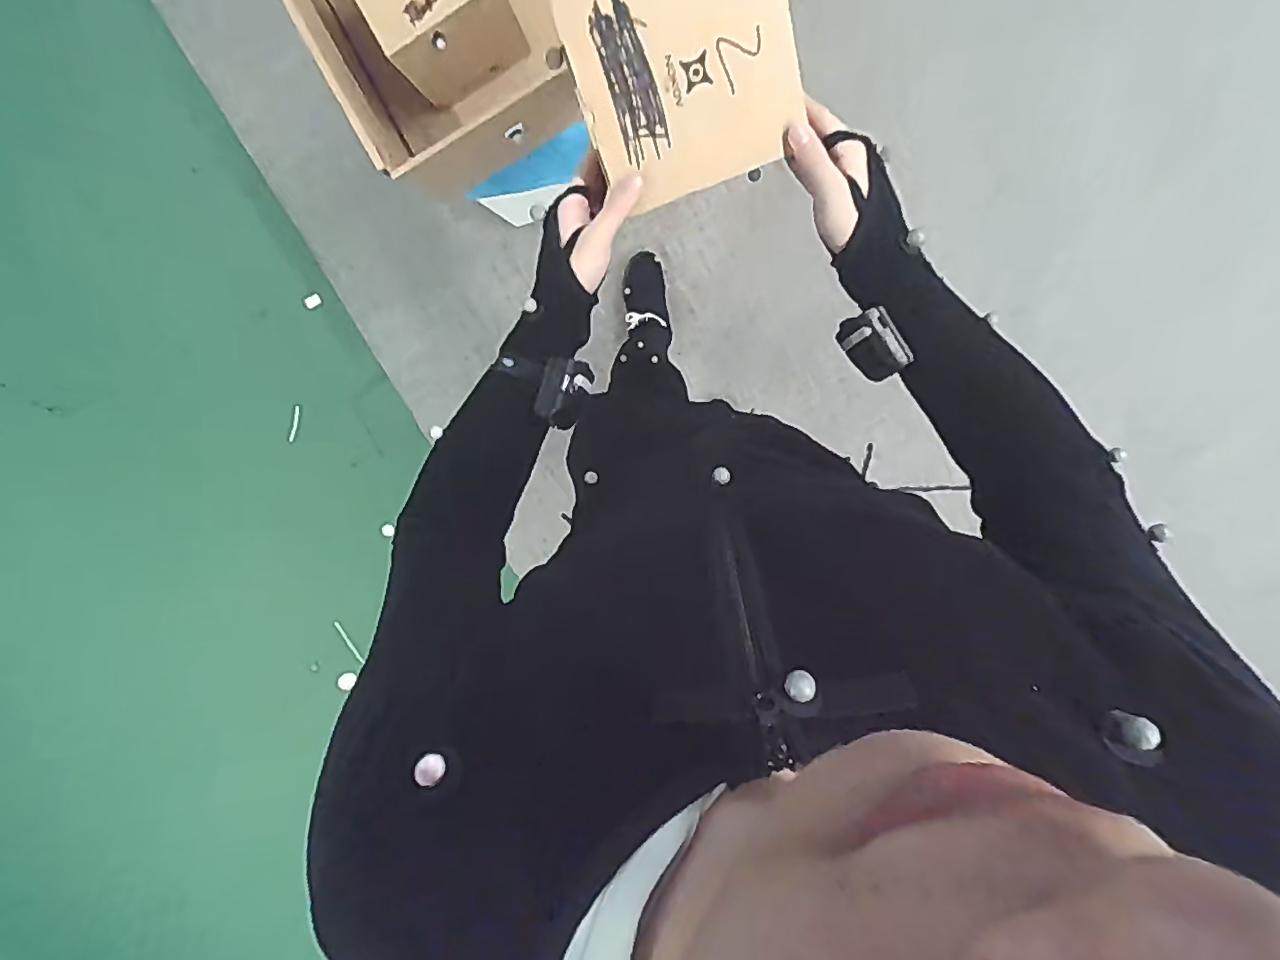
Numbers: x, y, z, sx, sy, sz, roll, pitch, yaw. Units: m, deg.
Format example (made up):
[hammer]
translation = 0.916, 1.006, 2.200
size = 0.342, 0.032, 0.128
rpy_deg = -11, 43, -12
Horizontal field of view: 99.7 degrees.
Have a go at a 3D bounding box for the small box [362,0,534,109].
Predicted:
[small box]
translation = -0.264, -0.642, 0.710
size = 0.168, 0.176, 0.179
rpy_deg = -25, 101, 10
